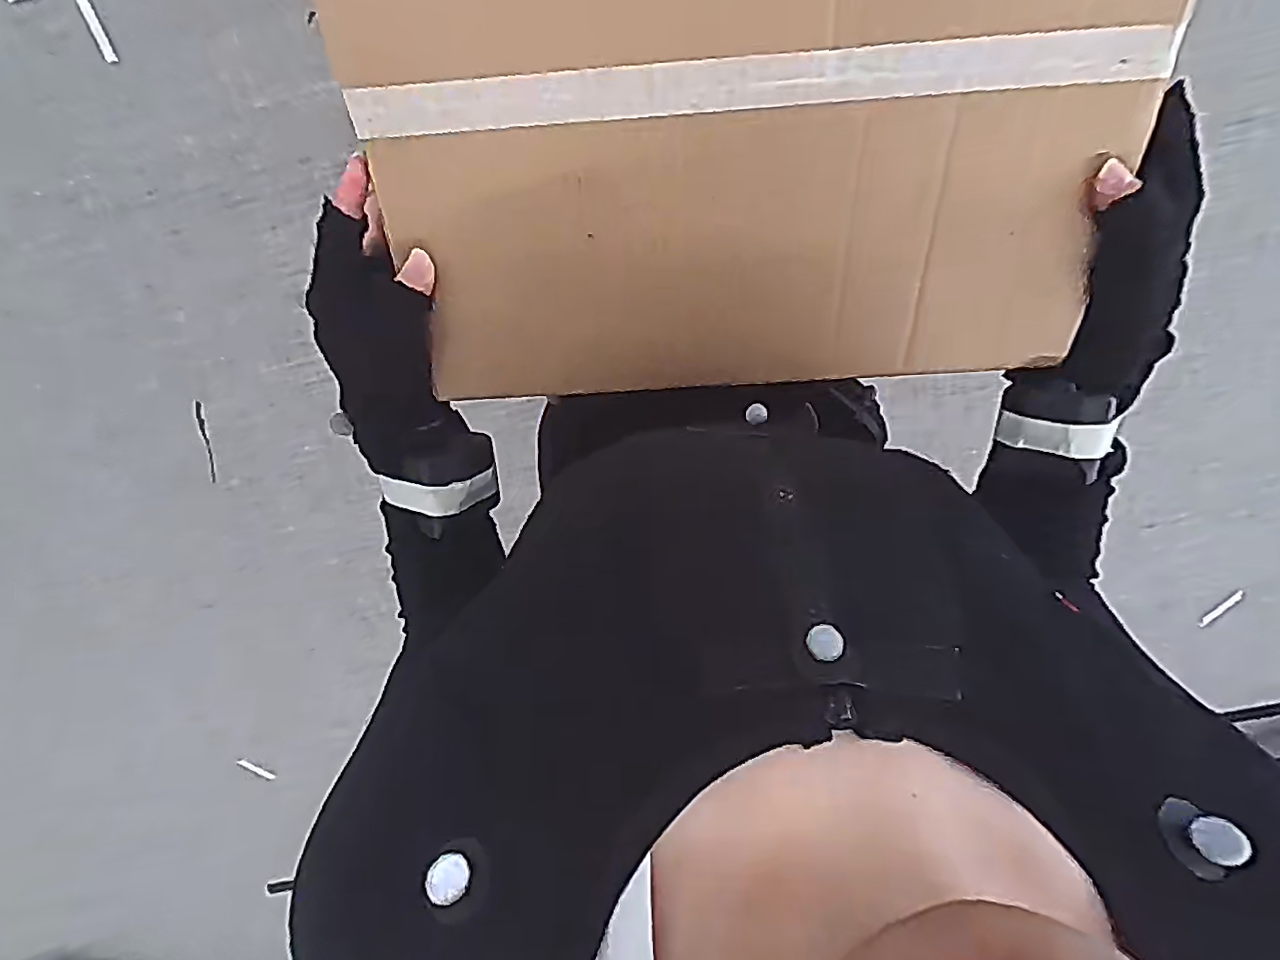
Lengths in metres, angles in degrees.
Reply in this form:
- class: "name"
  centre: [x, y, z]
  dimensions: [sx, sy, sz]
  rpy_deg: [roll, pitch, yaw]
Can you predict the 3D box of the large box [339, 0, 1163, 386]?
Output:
- class: "large box"
  centre: [0.052, -0.282, 0.404]
  dimensions: [0.408, 0.320, 0.320]
  rpy_deg: [-3, 123, 1]
